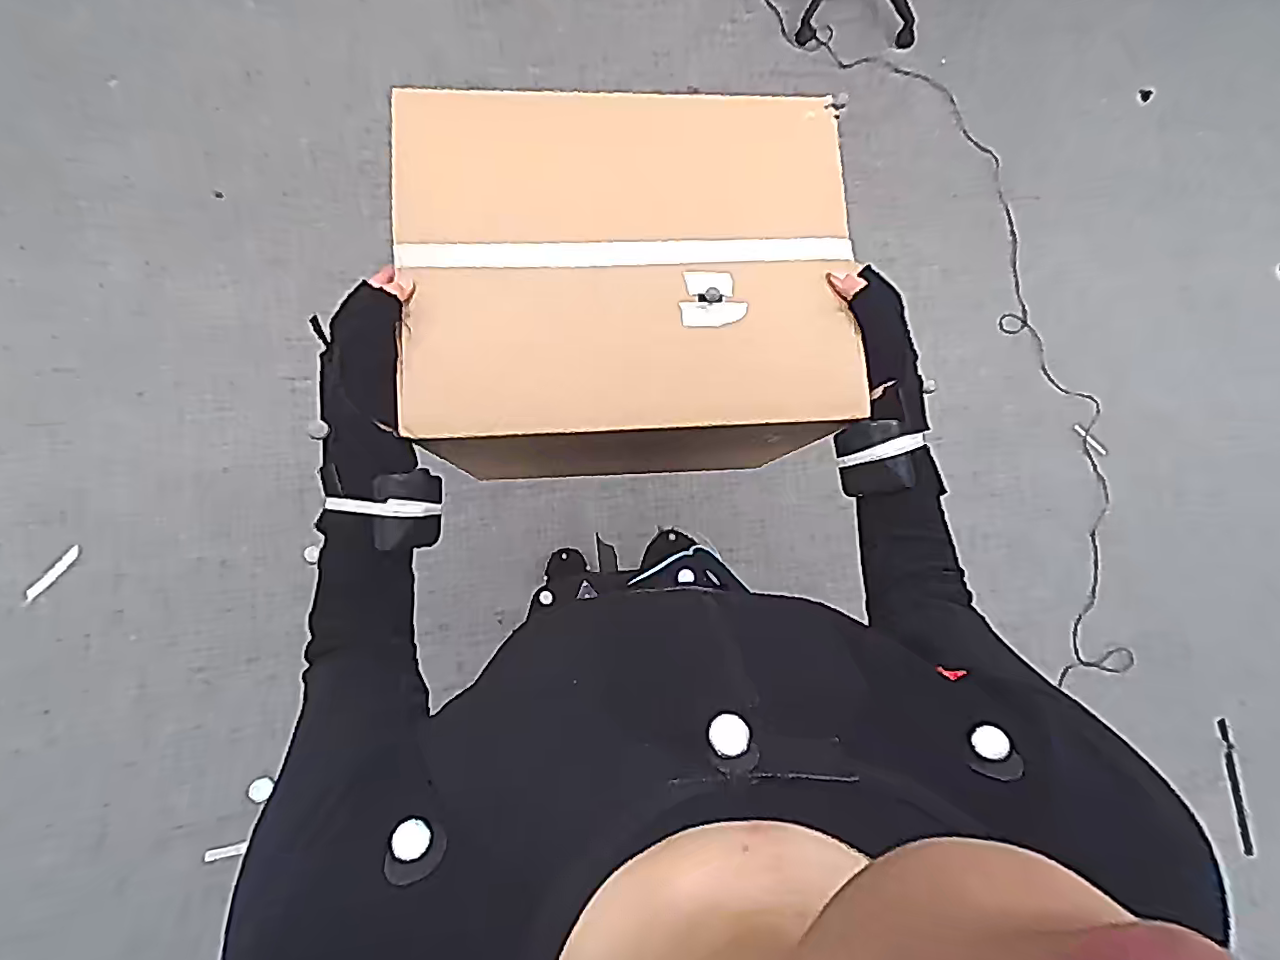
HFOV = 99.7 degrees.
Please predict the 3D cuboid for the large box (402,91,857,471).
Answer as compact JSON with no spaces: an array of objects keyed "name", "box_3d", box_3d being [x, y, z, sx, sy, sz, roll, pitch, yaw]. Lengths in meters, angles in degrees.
[{"name":"large box","box_3d":[-0.023,-0.191,0.636,0.408,0.320,0.320,-3,85,-7]}]
